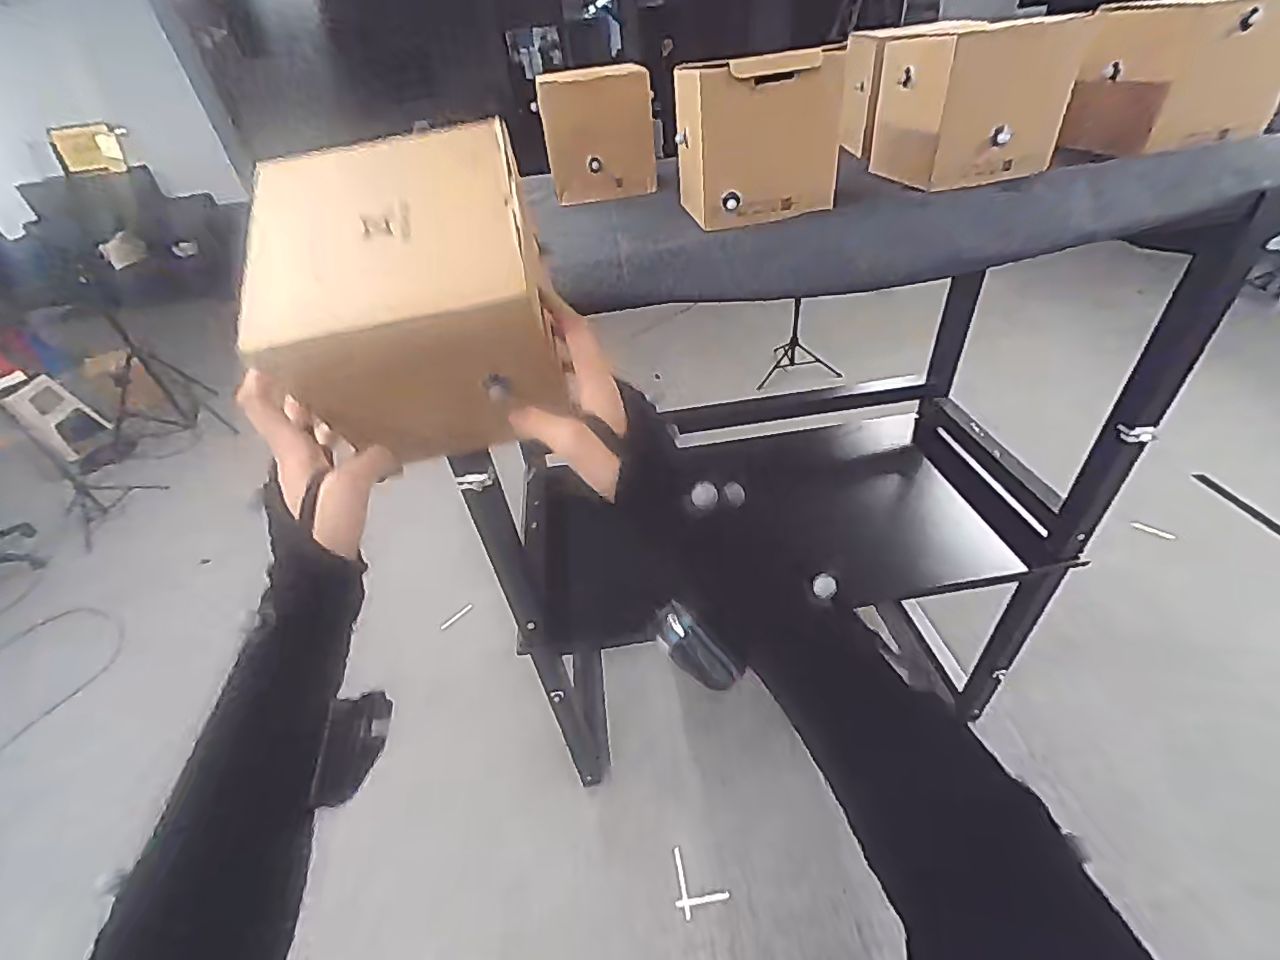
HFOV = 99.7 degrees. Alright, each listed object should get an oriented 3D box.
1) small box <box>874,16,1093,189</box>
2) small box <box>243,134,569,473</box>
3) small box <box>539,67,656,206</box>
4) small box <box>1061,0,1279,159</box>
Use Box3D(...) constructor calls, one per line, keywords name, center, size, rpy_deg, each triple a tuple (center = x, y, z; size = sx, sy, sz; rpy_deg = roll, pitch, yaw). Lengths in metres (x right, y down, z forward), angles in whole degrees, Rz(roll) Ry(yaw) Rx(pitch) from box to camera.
Box3D(name="small box", center=(0.442, -0.507, 0.736), size=(0.168, 0.176, 0.179), rpy_deg=(-9, 38, -2))
Box3D(name="small box", center=(-0.156, -0.123, 0.420), size=(0.179, 0.176, 0.168), rpy_deg=(-11, 66, -1))
Box3D(name="small box", center=(-0.070, -0.569, 0.896), size=(0.168, 0.176, 0.179), rpy_deg=(-10, 40, -3))
Box3D(name="small box", center=(0.738, -0.554, 0.745), size=(0.168, 0.176, 0.179), rpy_deg=(-9, 38, 0))
